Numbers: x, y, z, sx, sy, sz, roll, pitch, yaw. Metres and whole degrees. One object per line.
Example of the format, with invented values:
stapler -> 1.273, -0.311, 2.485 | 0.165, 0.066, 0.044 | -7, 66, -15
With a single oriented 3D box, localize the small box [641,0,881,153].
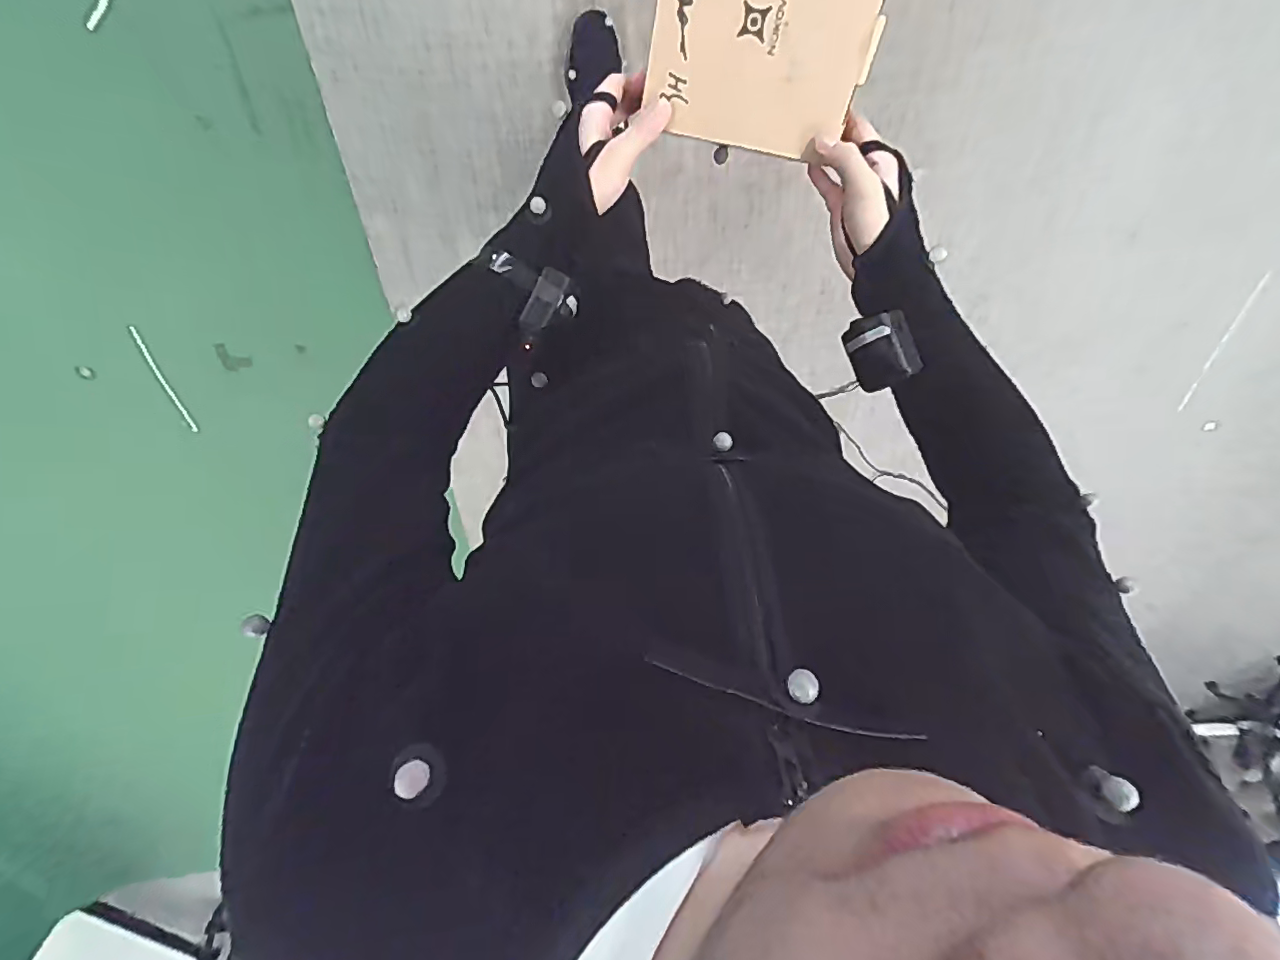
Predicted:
small box -> 0.101, -0.415, 0.497 | 0.179, 0.176, 0.168 | 9, 122, -4
